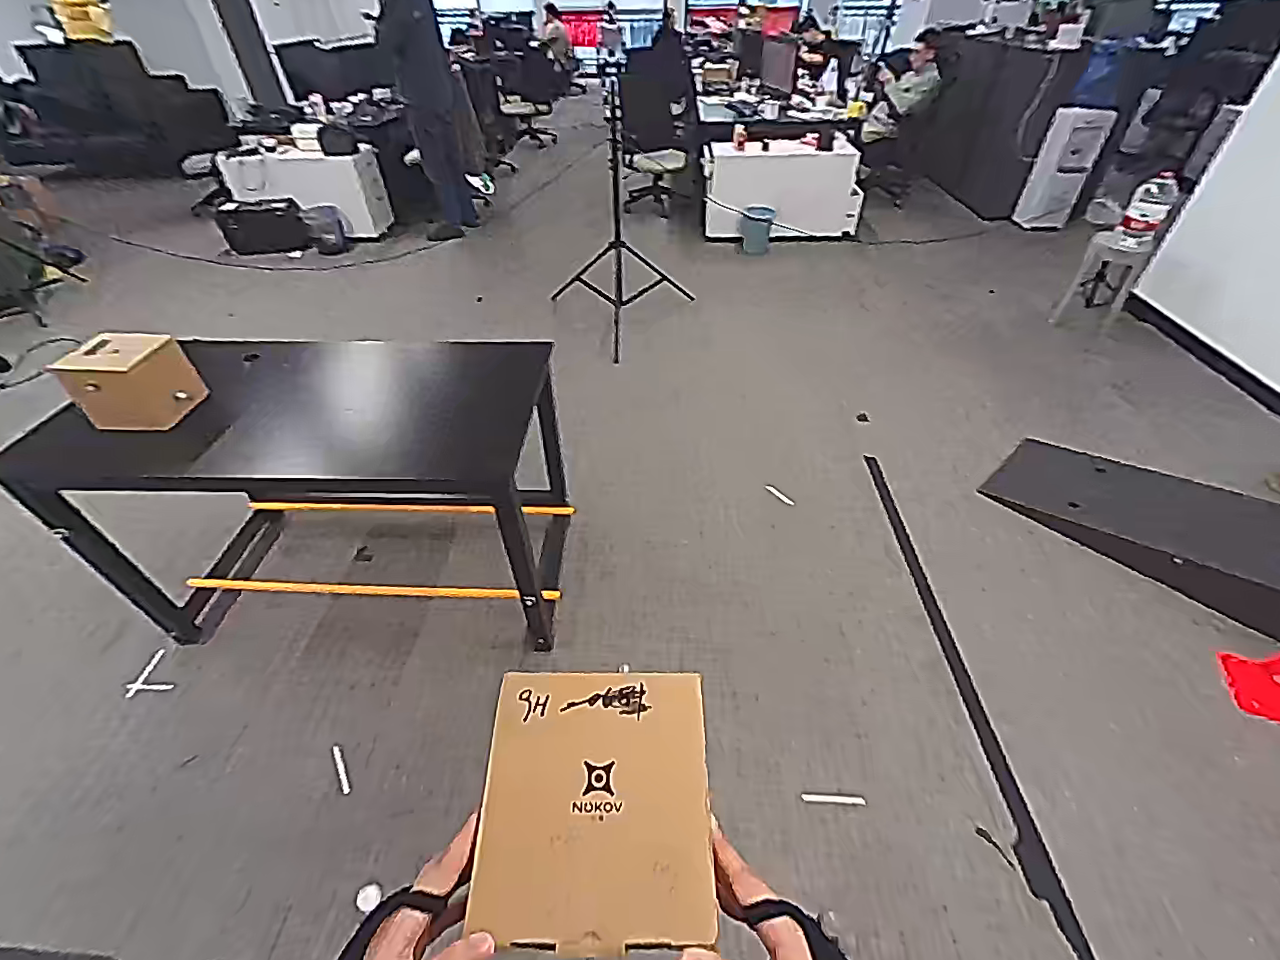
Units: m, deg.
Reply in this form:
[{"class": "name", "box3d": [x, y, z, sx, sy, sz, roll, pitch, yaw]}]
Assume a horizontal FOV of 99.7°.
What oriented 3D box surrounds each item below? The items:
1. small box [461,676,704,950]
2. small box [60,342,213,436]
[{"class": "small box", "box3d": [-0.037, 0.282, 0.468, 0.168, 0.176, 0.179, 0, 53, -1]}, {"class": "small box", "box3d": [-1.211, -0.220, 1.317, 0.179, 0.176, 0.168, 1, 42, 1]}]
